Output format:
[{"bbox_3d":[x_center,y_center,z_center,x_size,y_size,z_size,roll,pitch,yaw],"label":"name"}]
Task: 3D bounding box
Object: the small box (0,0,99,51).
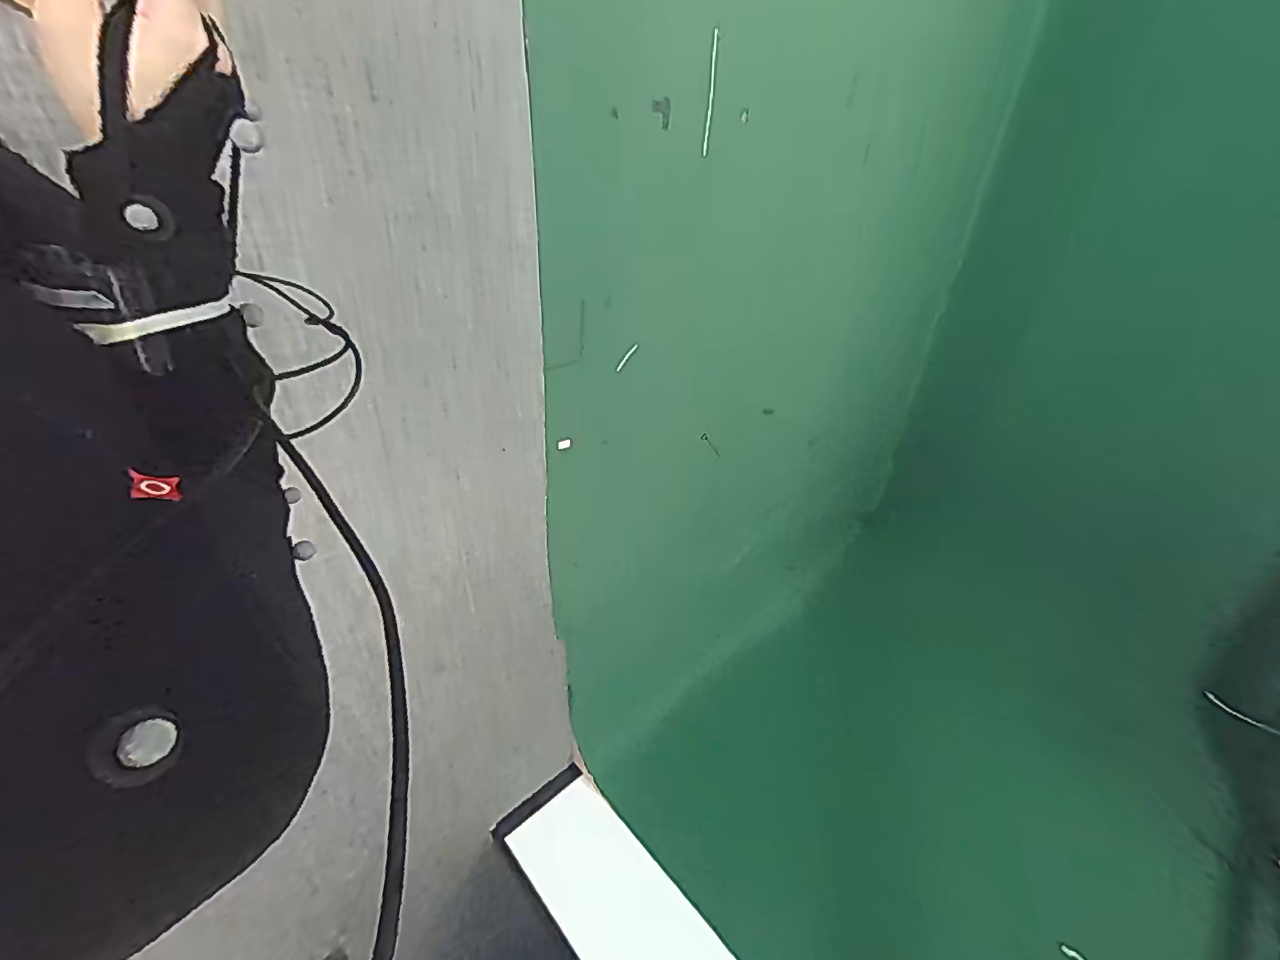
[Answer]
[{"bbox_3d":[-0.322,-0.321,0.213,0.168,0.176,0.179,11,110,-54],"label":"small box"}]
